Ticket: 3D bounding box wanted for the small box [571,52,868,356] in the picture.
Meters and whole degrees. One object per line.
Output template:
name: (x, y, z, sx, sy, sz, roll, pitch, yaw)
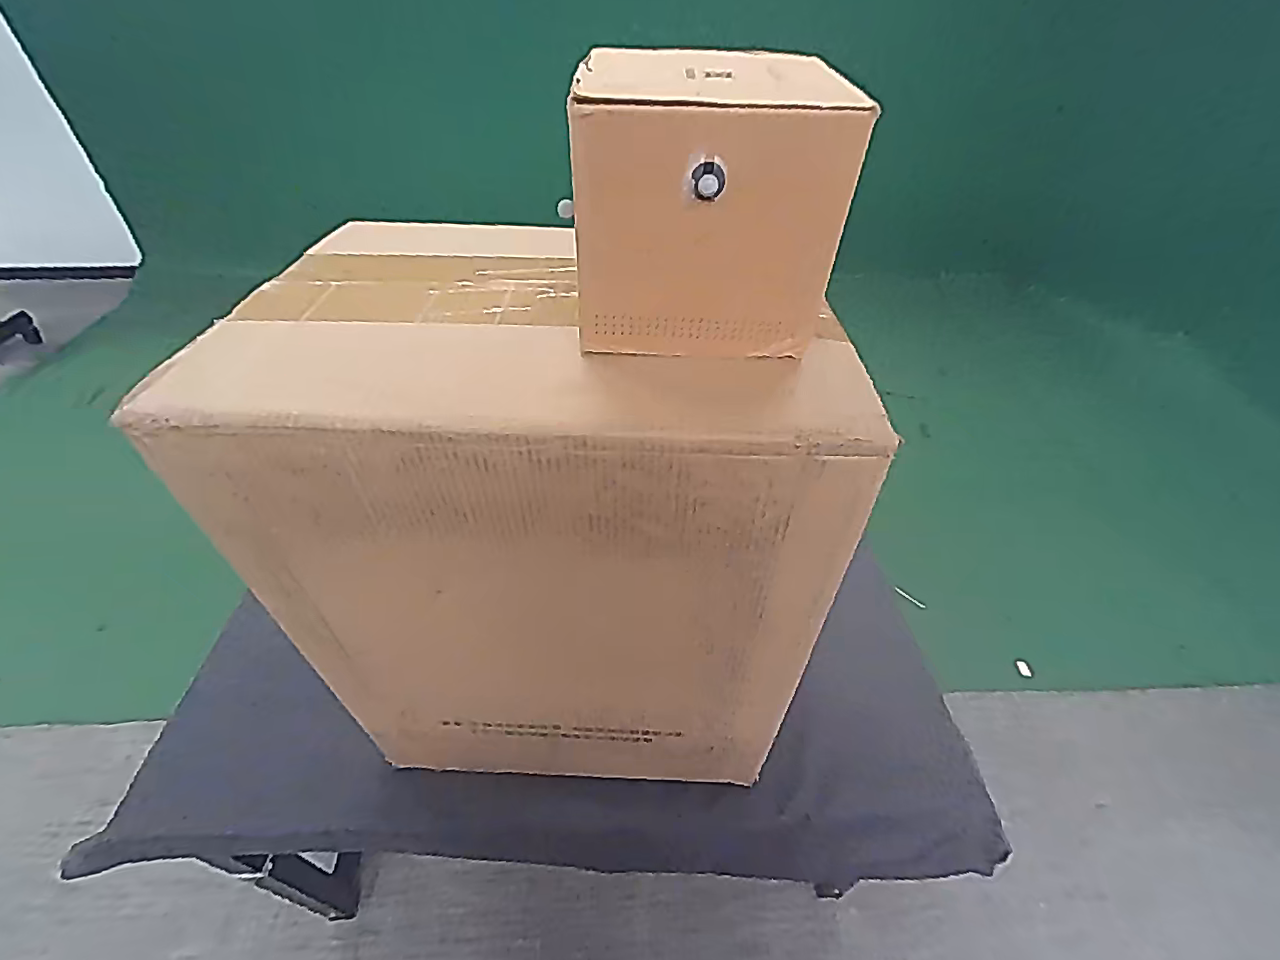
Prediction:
small box: (0.045, -0.212, 0.421, 0.179, 0.176, 0.168, 3, 46, -2)
